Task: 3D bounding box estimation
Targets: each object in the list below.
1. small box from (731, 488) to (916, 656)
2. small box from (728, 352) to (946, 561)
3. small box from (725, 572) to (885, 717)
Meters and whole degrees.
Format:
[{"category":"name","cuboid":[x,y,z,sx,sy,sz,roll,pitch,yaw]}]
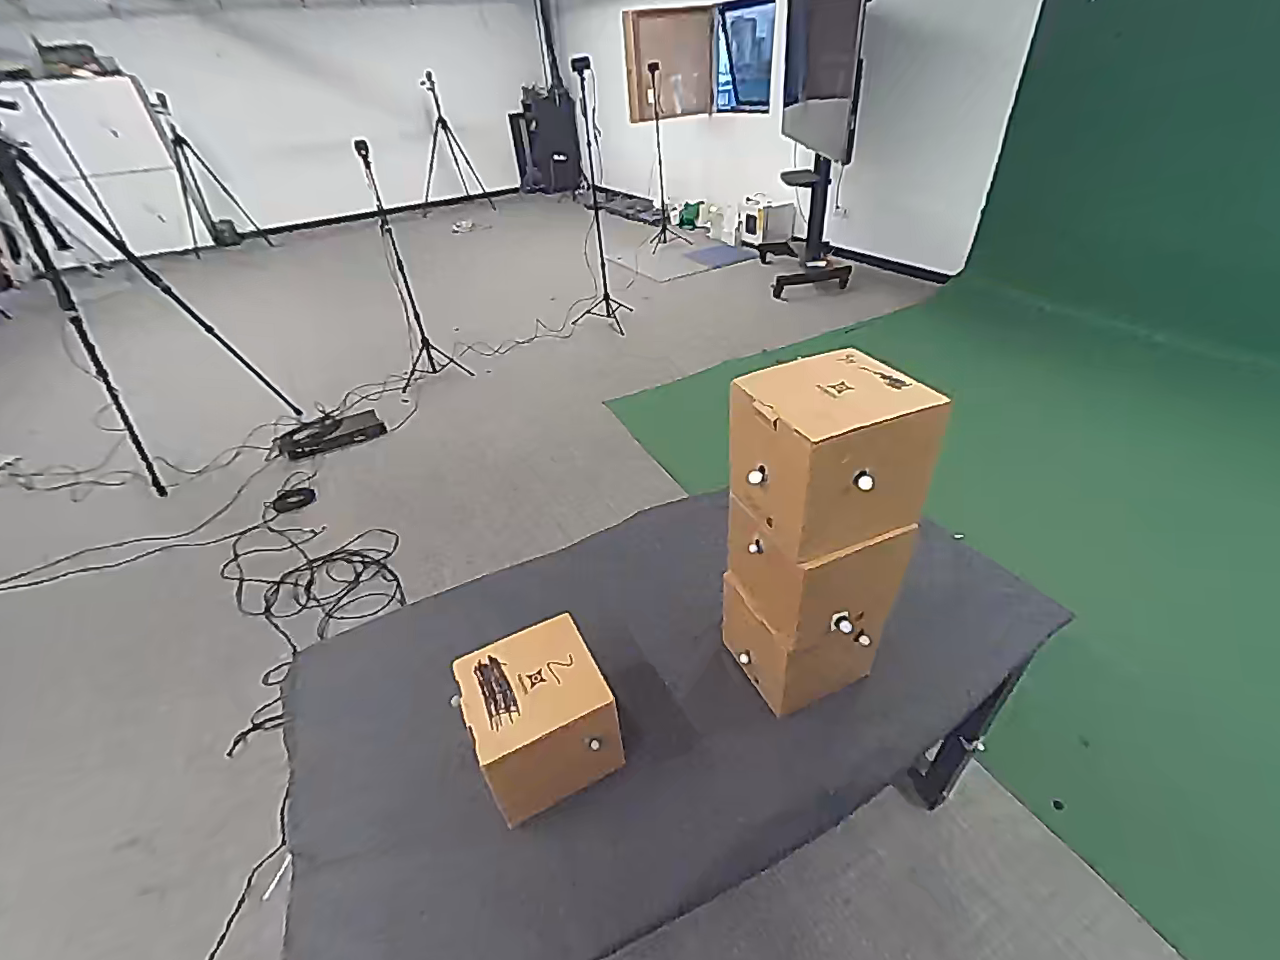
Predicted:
[{"category":"small box","cuboid":[0.234,0.104,0.742,0.168,0.176,0.179,-18,39,-14]},{"category":"small box","cuboid":[0.221,-0.030,0.648,0.179,0.176,0.168,-17,38,-13]},{"category":"small box","cuboid":[0.244,0.230,0.844,0.179,0.176,0.168,-18,38,-16]}]
